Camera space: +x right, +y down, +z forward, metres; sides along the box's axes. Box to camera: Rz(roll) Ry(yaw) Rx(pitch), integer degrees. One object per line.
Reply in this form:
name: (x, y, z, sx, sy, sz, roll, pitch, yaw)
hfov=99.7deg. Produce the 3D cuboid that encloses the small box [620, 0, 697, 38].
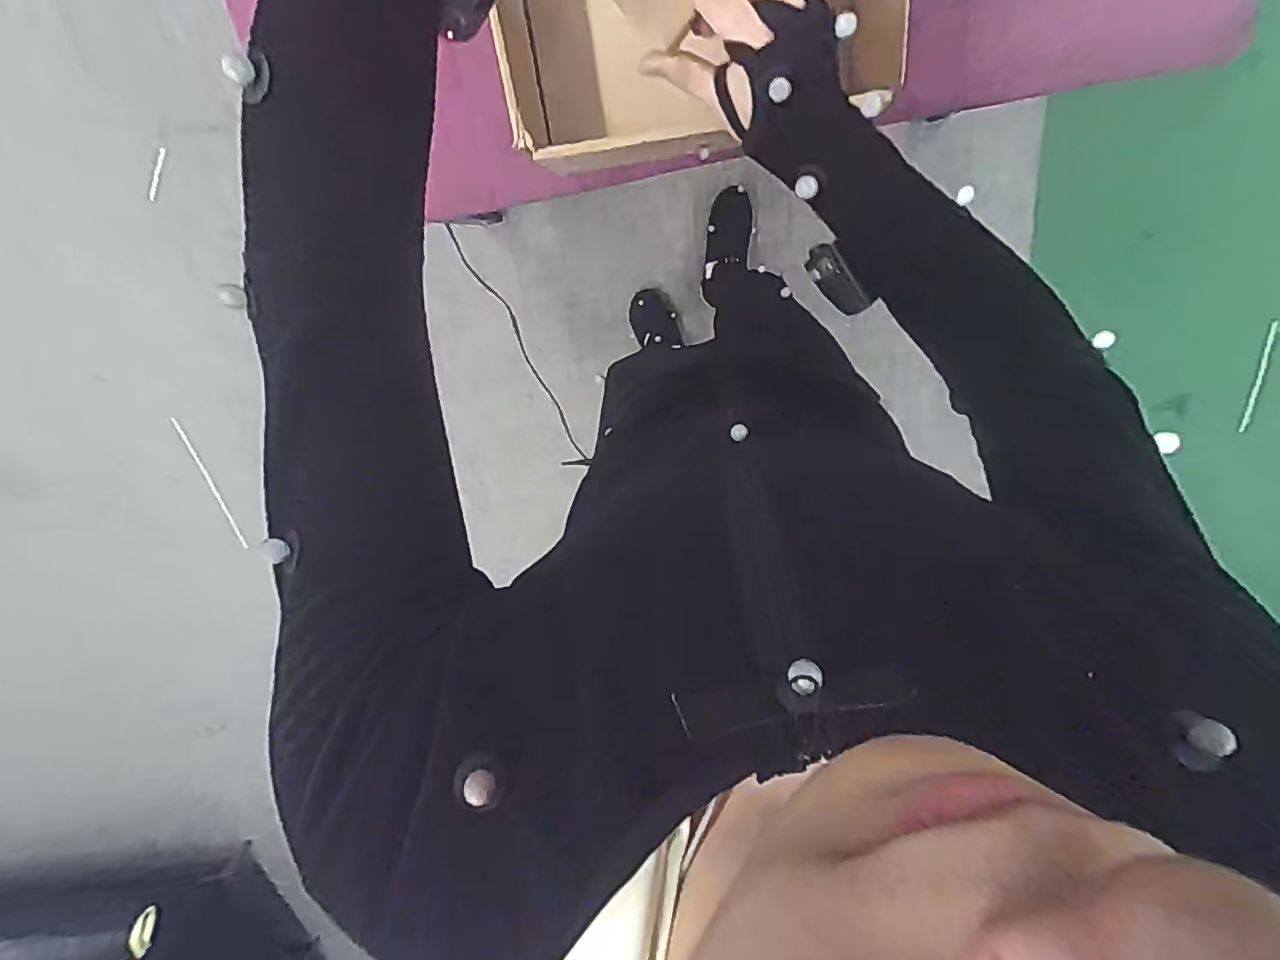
small box: (0.012, -0.425, 0.333, 0.179, 0.176, 0.168, 39, 124, -21)
